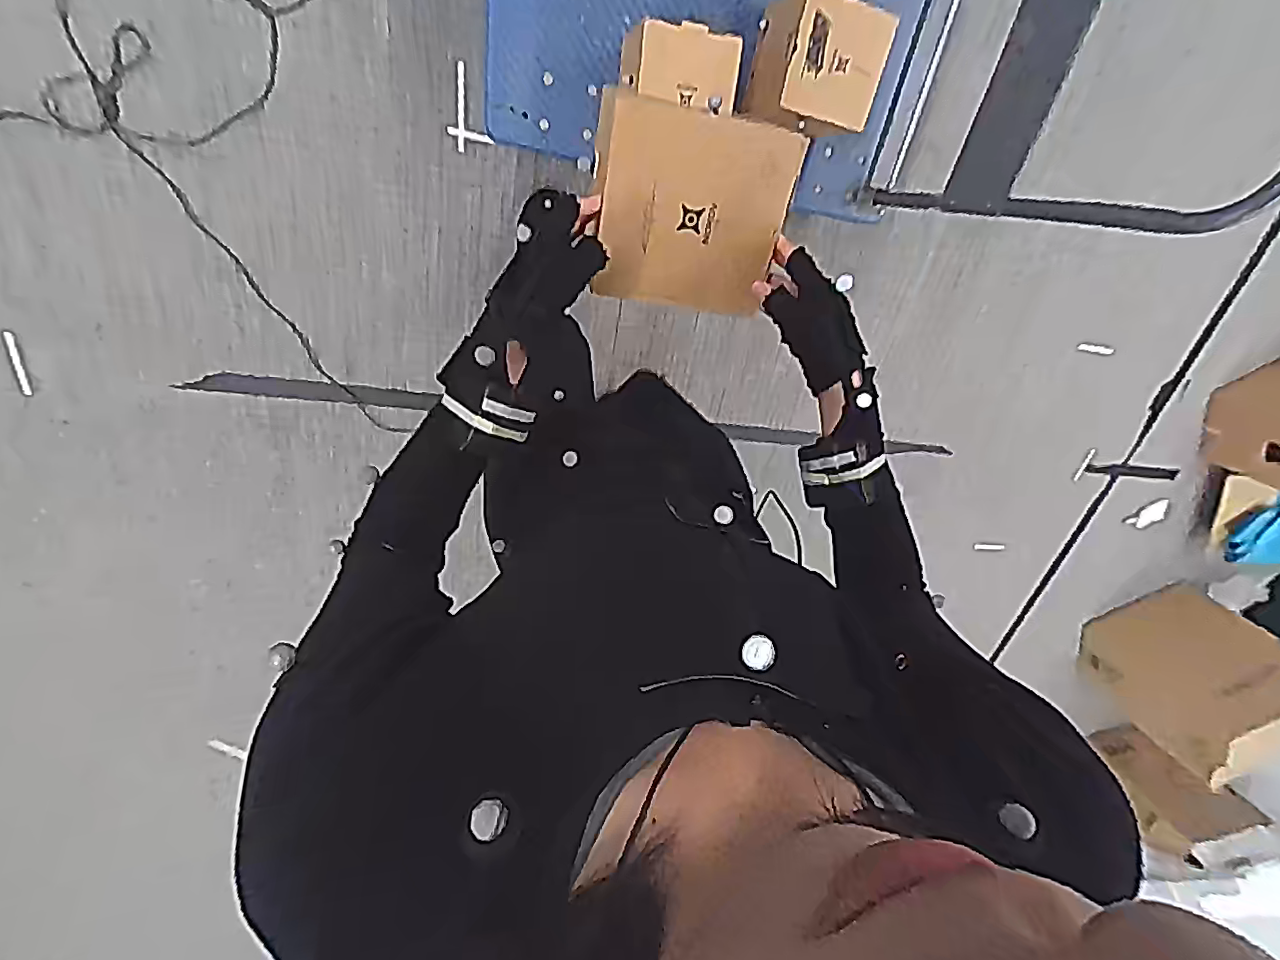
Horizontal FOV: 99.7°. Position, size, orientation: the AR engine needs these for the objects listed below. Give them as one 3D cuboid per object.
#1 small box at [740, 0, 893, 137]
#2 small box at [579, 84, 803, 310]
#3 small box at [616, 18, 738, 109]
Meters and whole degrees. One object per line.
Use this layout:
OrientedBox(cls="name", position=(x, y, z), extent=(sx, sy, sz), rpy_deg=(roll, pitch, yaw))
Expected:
OrientedBox(cls="small box", position=(0.303, -0.733, 0.972), extent=(0.179, 0.176, 0.168), rpy_deg=(5, 118, -18))
OrientedBox(cls="small box", position=(0.035, -0.296, 0.564), extent=(0.179, 0.176, 0.168), rpy_deg=(4, 127, -12))
OrientedBox(cls="small box", position=(0.050, -0.661, 0.945), extent=(0.168, 0.176, 0.179), rpy_deg=(0, 118, -15))
